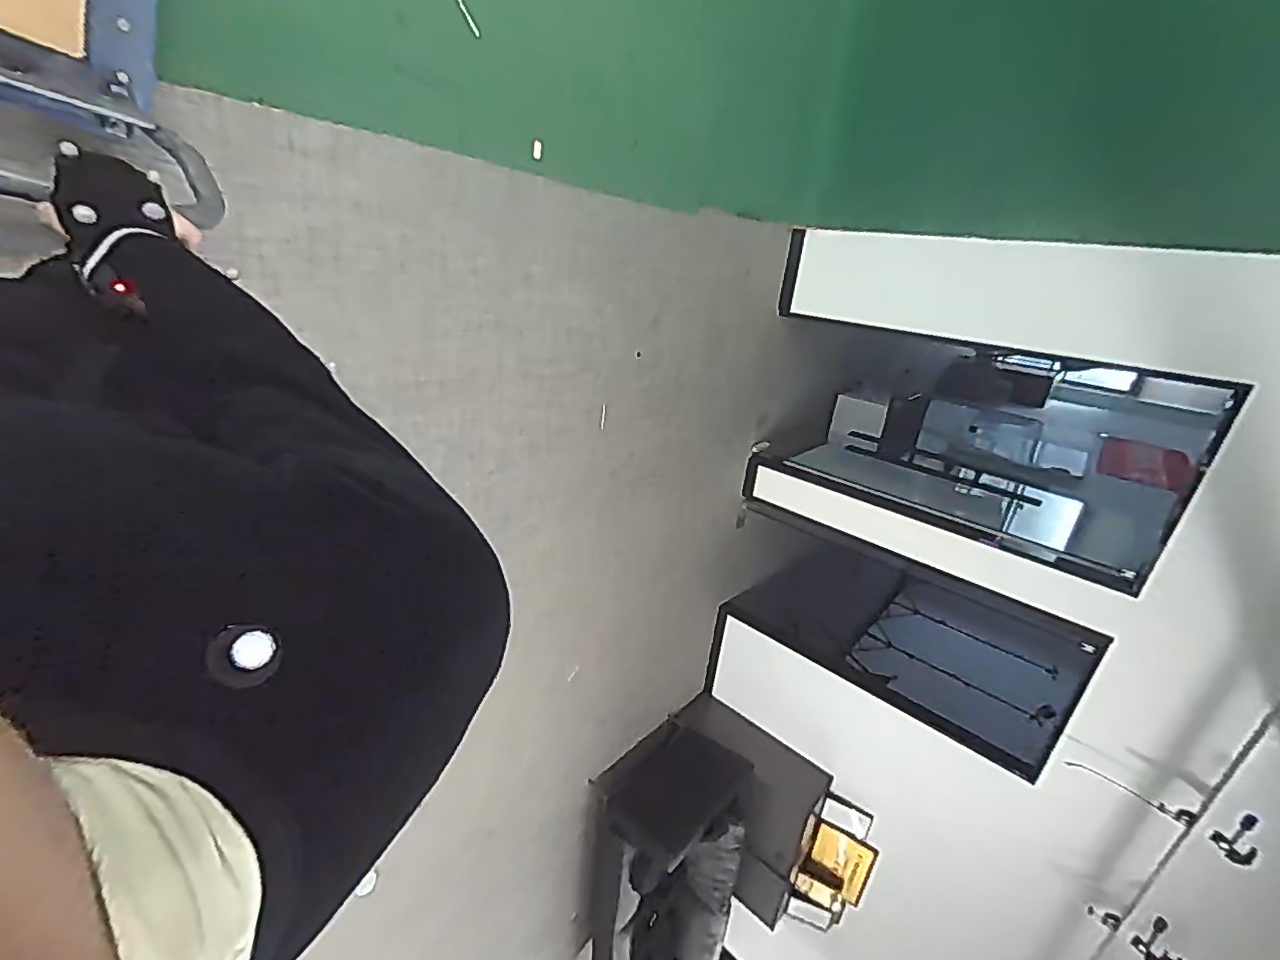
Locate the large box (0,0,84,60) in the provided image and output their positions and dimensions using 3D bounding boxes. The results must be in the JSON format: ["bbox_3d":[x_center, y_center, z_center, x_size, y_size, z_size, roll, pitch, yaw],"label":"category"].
[{"bbox_3d":[-0.893,-0.795,0.631,0.320,0.320,0.408,-5,119,-51],"label":"large box"}]
